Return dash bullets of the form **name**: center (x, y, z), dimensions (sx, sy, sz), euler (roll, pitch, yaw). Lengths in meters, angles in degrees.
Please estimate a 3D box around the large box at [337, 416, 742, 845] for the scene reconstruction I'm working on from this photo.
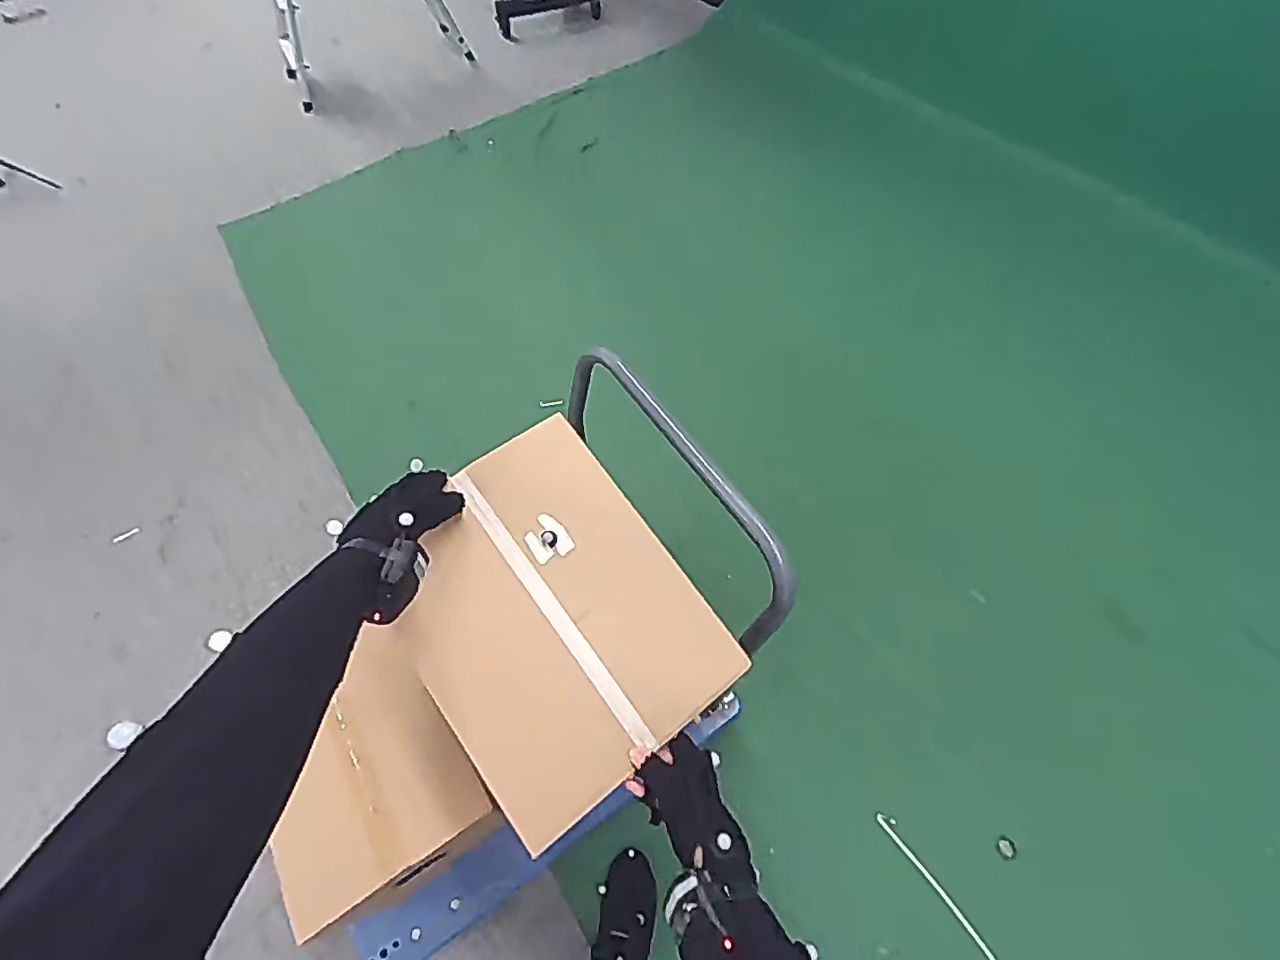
- **large box**: center (-0.129, 0.195, 0.773), dimensions (0.320, 0.320, 0.408), euler (-34, 77, -17)
